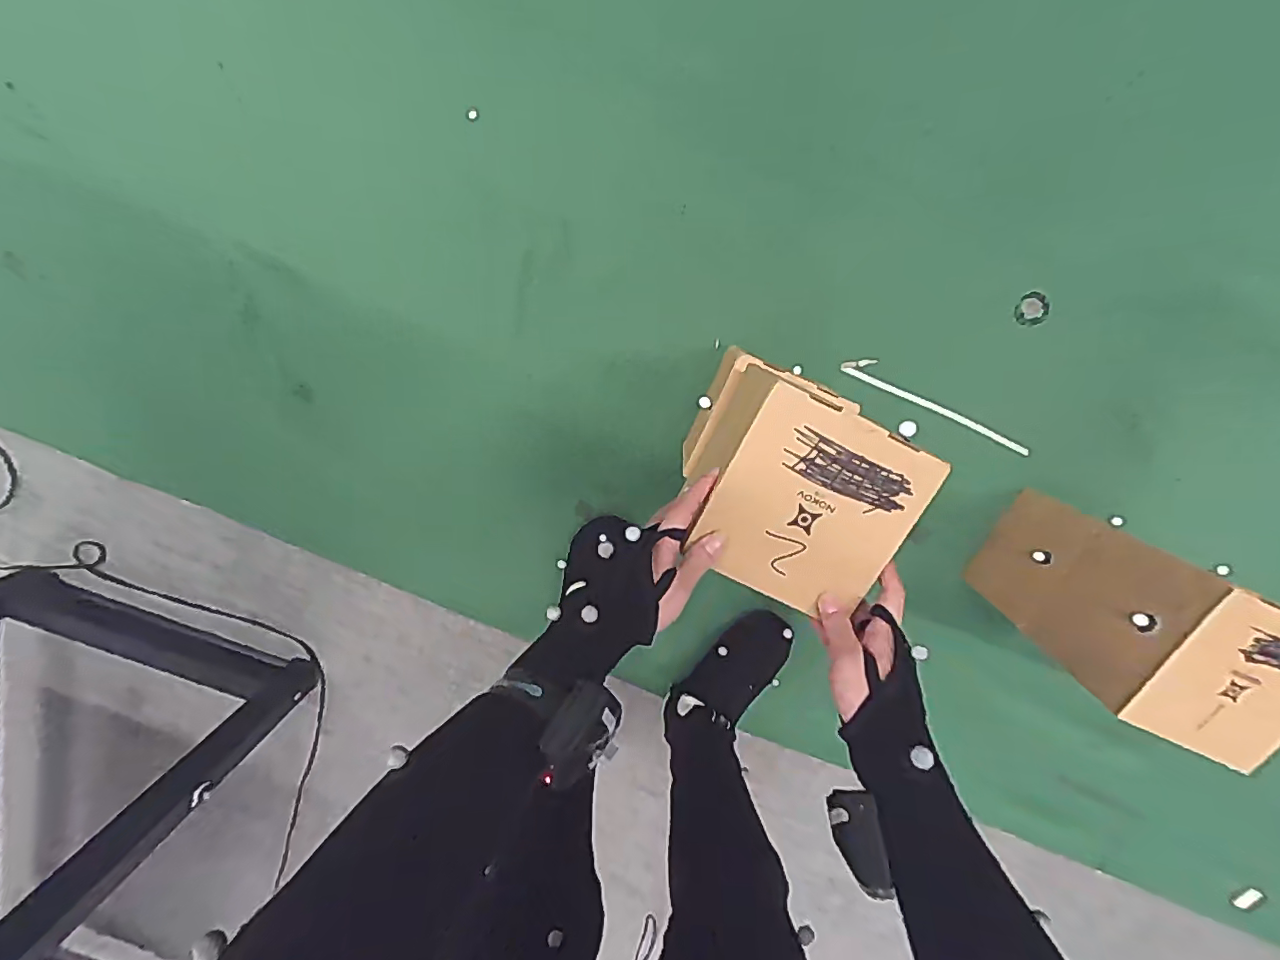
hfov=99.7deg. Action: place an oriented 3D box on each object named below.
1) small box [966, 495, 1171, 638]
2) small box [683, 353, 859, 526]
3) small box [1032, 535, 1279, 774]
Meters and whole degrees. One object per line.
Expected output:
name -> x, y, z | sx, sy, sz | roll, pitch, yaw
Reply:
small box -> 0.627, 0.145, 0.792 | 0.168, 0.176, 0.179 | 25, 106, -4
small box -> 0.172, -0.067, 0.766 | 0.168, 0.176, 0.179 | 24, 105, -3
small box -> 0.619, 0.190, 0.635 | 0.168, 0.176, 0.179 | 25, 107, -3
